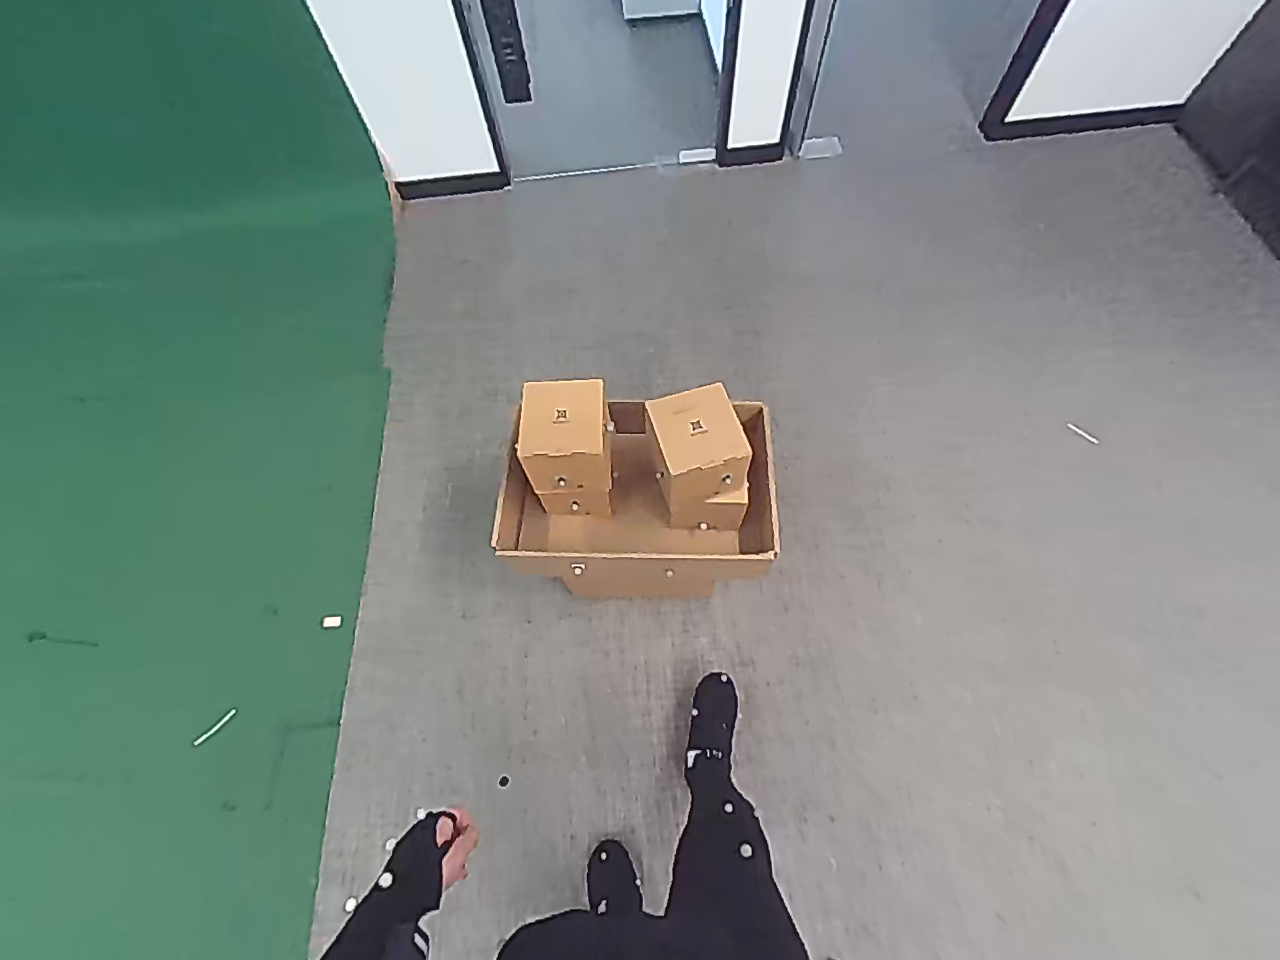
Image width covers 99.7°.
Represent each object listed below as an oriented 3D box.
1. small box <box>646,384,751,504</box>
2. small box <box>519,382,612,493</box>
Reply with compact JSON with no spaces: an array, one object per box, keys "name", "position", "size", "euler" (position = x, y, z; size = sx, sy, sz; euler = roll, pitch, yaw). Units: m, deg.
[{"name":"small box","position":[0.115,-0.065,1.120],"size":[0.168,0.176,0.179],"euler":[-15,63,-5]},{"name":"small box","position":[-0.150,-0.087,1.148],"size":[0.168,0.176,0.179],"euler":[-2,63,2]}]
